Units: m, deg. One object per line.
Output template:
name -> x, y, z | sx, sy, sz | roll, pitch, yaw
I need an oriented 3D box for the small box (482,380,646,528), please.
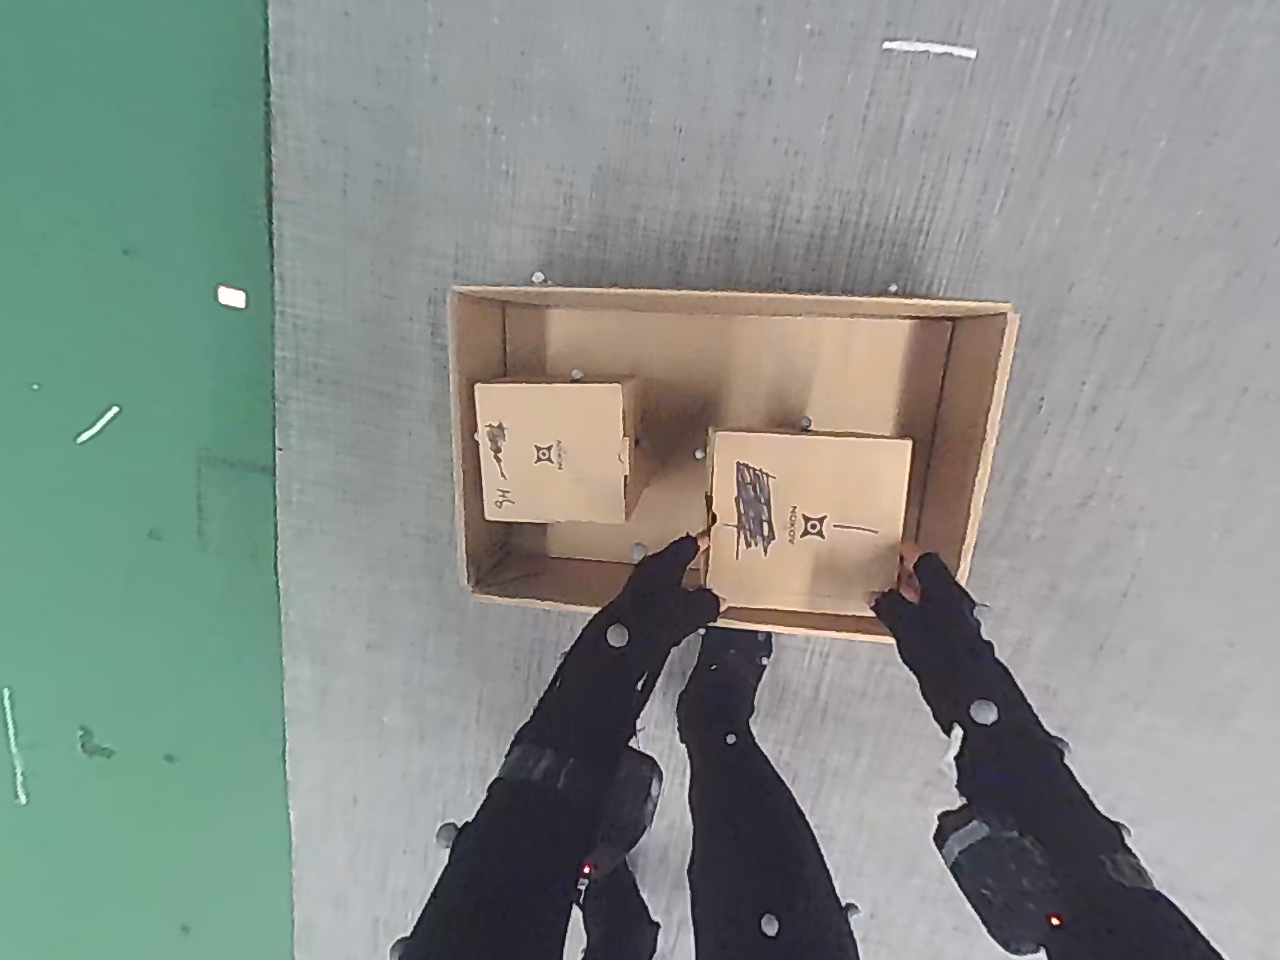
small box -> -0.085, -0.043, 0.700 | 0.179, 0.176, 0.168 | 1, 103, 7

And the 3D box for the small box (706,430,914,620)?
small box -> 0.162, 0.034, 0.576 | 0.179, 0.176, 0.168 | 3, 98, 5
